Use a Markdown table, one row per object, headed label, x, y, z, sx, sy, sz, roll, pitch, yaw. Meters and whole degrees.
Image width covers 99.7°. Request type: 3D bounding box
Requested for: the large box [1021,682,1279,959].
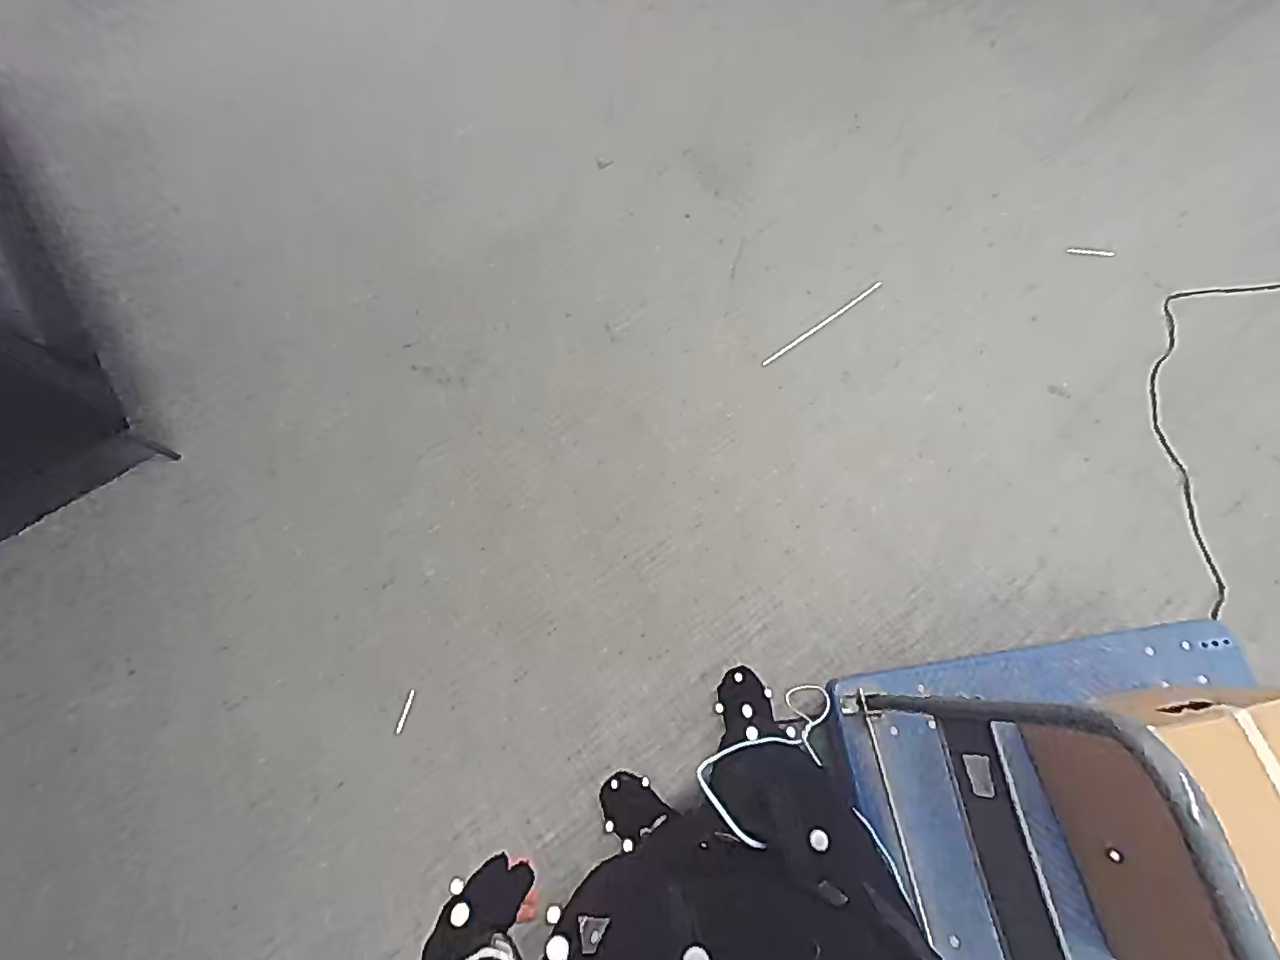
| label | x | y | z | sx | sy | sz | roll | pitch | yaw |
| --- | --- | --- | --- | --- | --- | --- | --- | --- | --- |
| large box | 0.951 | 0.579 | 0.896 | 0.320 | 0.320 | 0.408 | -13 | 69 | -3 |
